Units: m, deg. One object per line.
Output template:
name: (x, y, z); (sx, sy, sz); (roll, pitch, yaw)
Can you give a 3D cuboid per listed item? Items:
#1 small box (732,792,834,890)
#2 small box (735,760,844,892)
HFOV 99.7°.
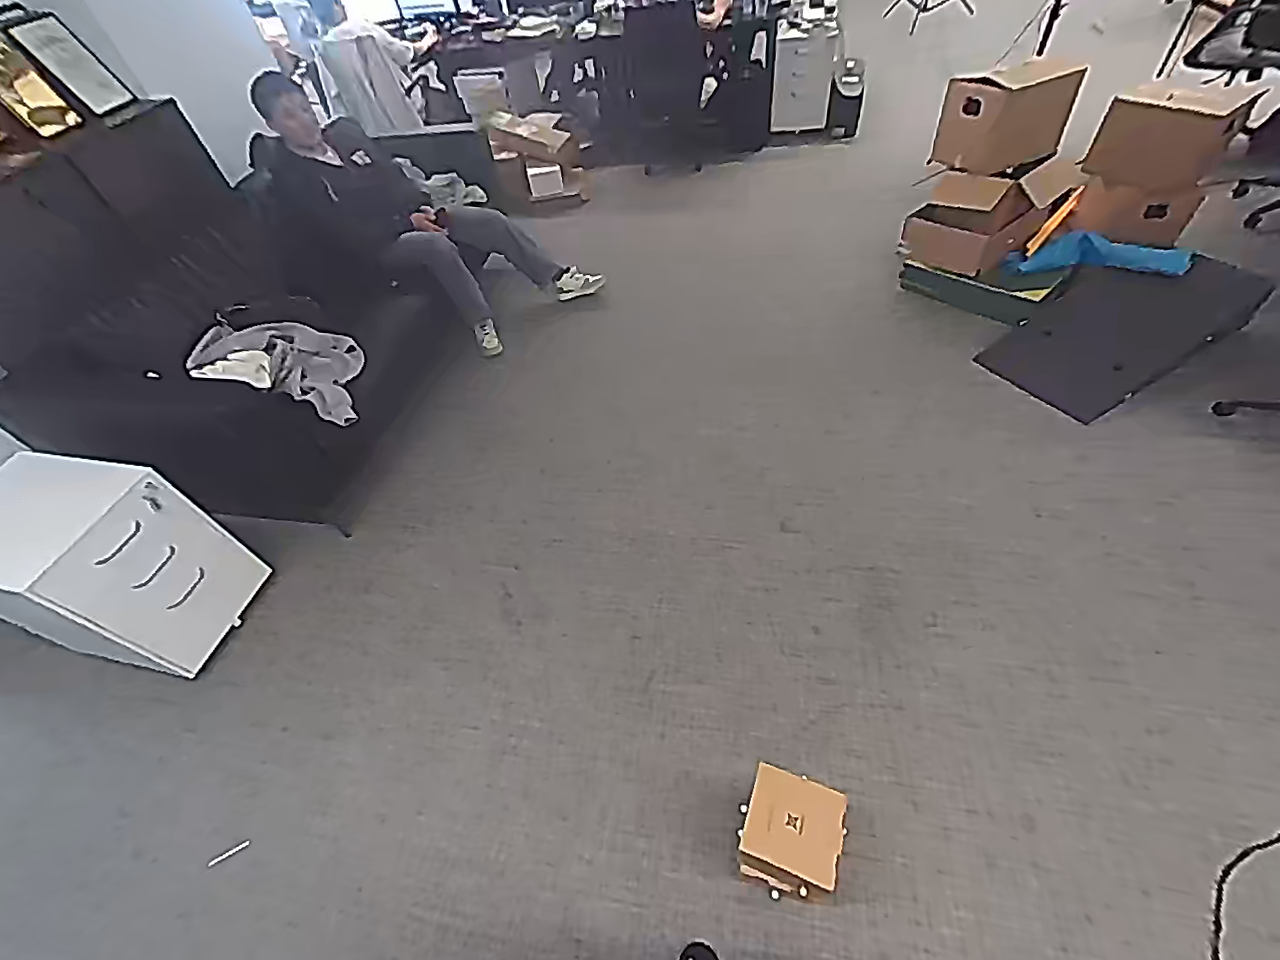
small box: (0.319, 0.804, 1.224); (0.179, 0.176, 0.168); (-15, 47, -1)
small box: (0.301, 0.708, 1.104); (0.179, 0.176, 0.168); (13, 51, 21)
